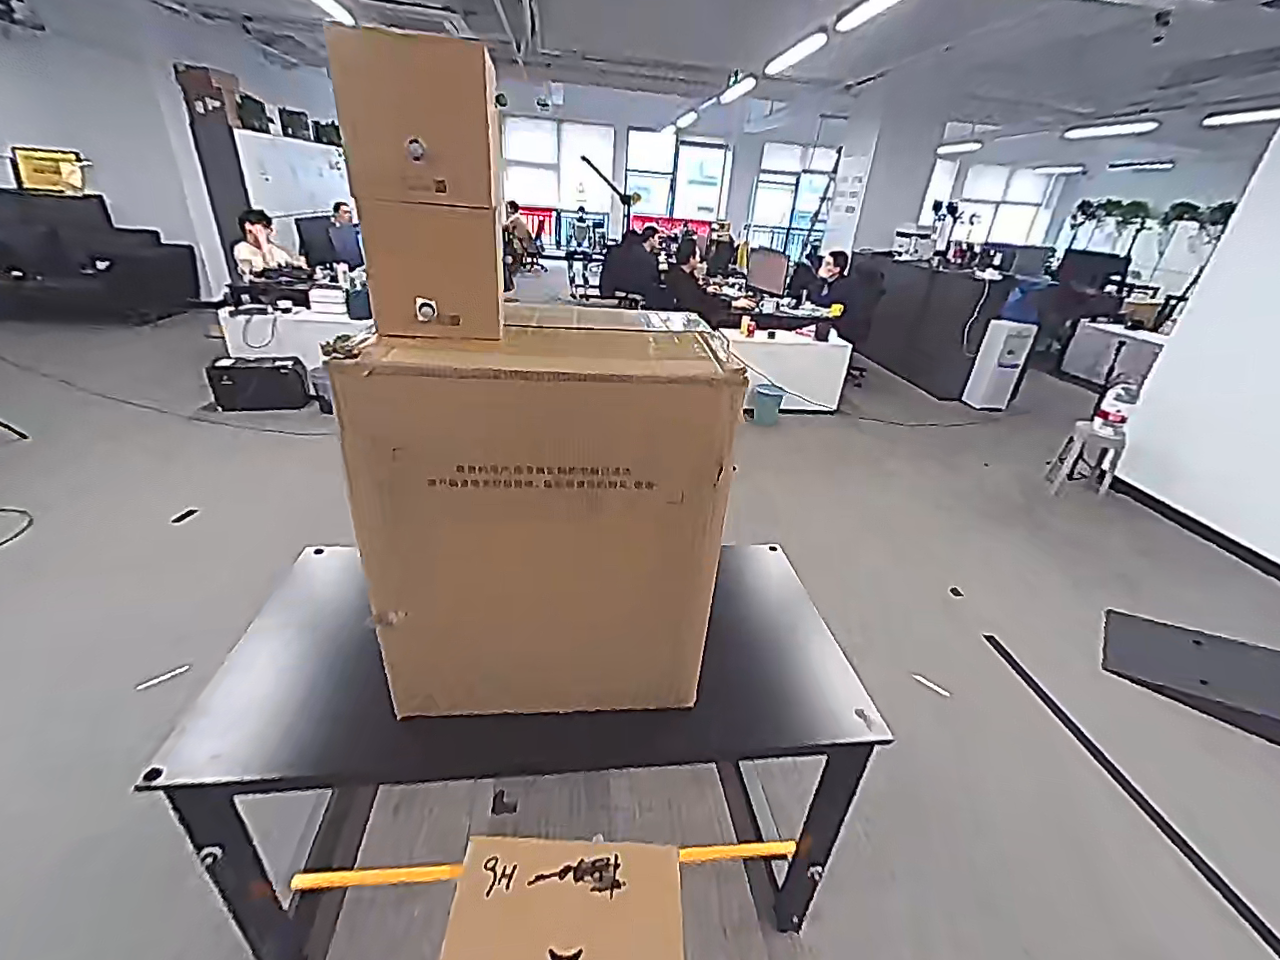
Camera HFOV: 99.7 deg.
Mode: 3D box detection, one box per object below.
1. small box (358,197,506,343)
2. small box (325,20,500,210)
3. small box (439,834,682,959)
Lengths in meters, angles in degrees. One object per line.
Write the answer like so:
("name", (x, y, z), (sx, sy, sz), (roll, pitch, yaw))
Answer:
("small box", (-0.280, -0.302, 0.767), (0.168, 0.176, 0.179), (-2, 30, -12))
("small box", (-0.269, -0.445, 0.686), (0.168, 0.176, 0.179), (-1, 29, -10))
("small box", (-0.058, 0.396, 0.396), (0.168, 0.176, 0.179), (4, 34, -2))
